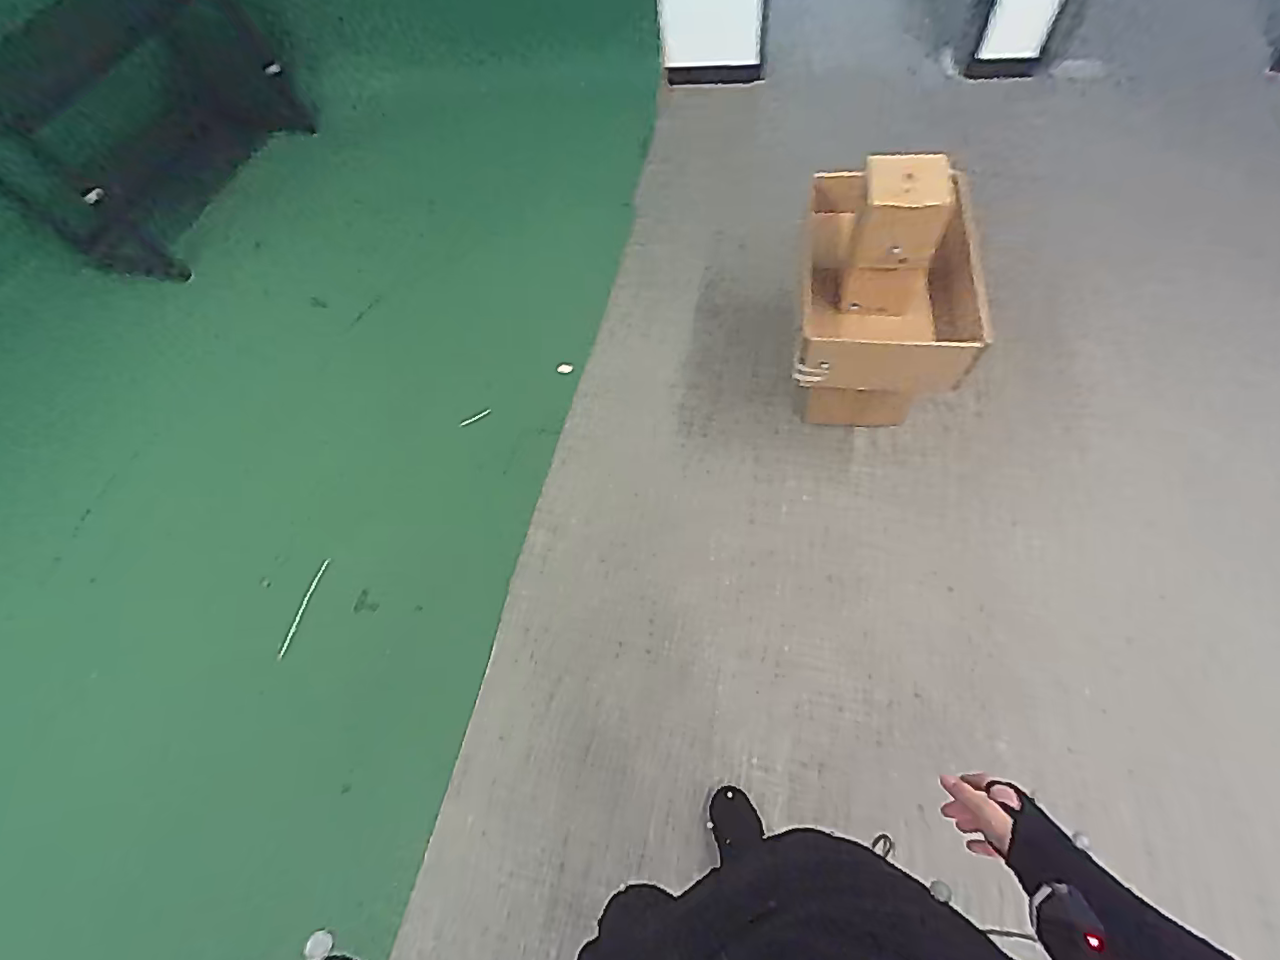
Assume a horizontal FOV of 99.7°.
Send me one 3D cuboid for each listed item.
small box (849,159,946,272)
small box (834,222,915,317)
[{"bbox_3d":[0.587,-0.613,1.257,0.168,0.176,0.179,5,63,11],"label":"small box"},{"bbox_3d":[0.608,-0.545,1.407,0.168,0.176,0.179,6,62,11],"label":"small box"}]
